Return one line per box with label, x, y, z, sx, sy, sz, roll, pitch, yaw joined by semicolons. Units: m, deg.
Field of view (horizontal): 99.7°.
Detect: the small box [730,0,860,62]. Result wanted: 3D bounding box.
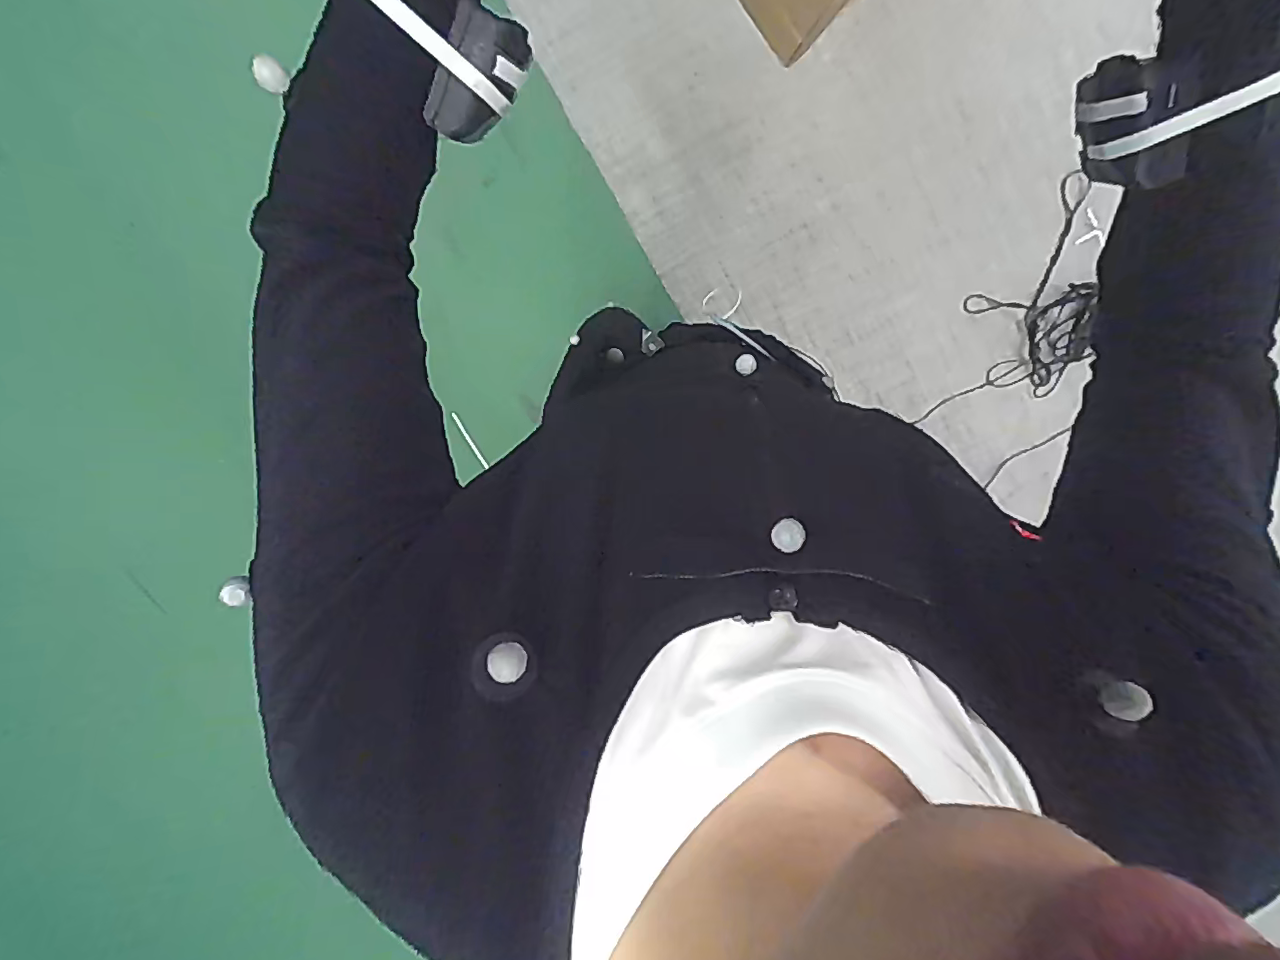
small box;0.107;-0.381;0.282;0.168;0.176;0.179;-41;106;11
